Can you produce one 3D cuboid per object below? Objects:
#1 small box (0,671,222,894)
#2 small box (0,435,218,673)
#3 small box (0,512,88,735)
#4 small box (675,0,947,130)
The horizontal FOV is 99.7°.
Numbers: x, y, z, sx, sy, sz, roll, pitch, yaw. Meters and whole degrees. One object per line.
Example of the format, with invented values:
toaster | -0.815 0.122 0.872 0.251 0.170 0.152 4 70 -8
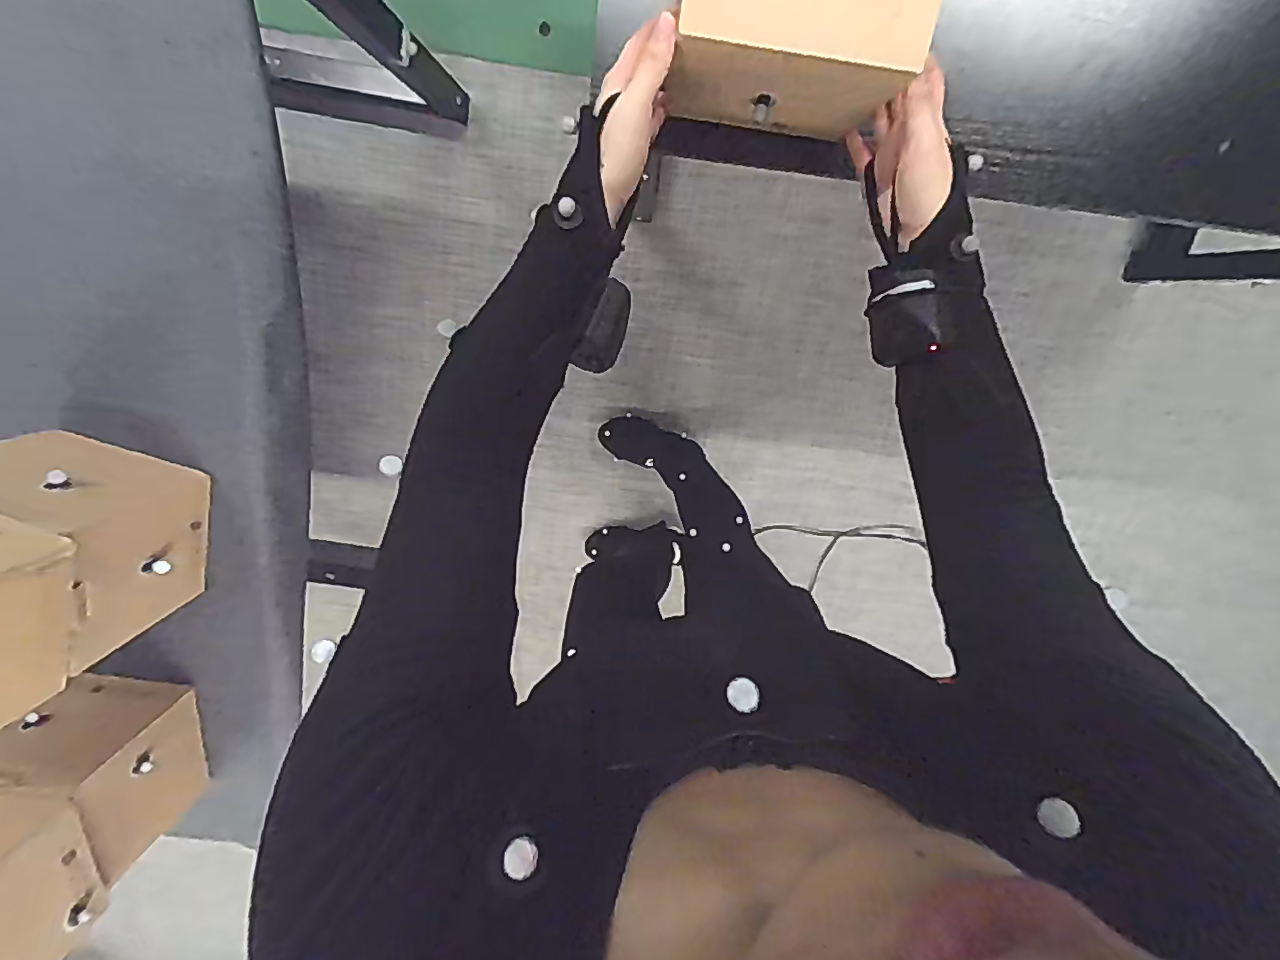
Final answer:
small box | -0.676 0.368 0.681 0.168 0.176 0.179 7 110 1
small box | -0.591 0.066 0.570 0.179 0.176 0.168 17 110 -4
small box | -0.587 0.119 0.415 0.168 0.176 0.179 22 109 -6
small box | 0.119 -0.382 0.396 0.168 0.176 0.179 7 109 -3
